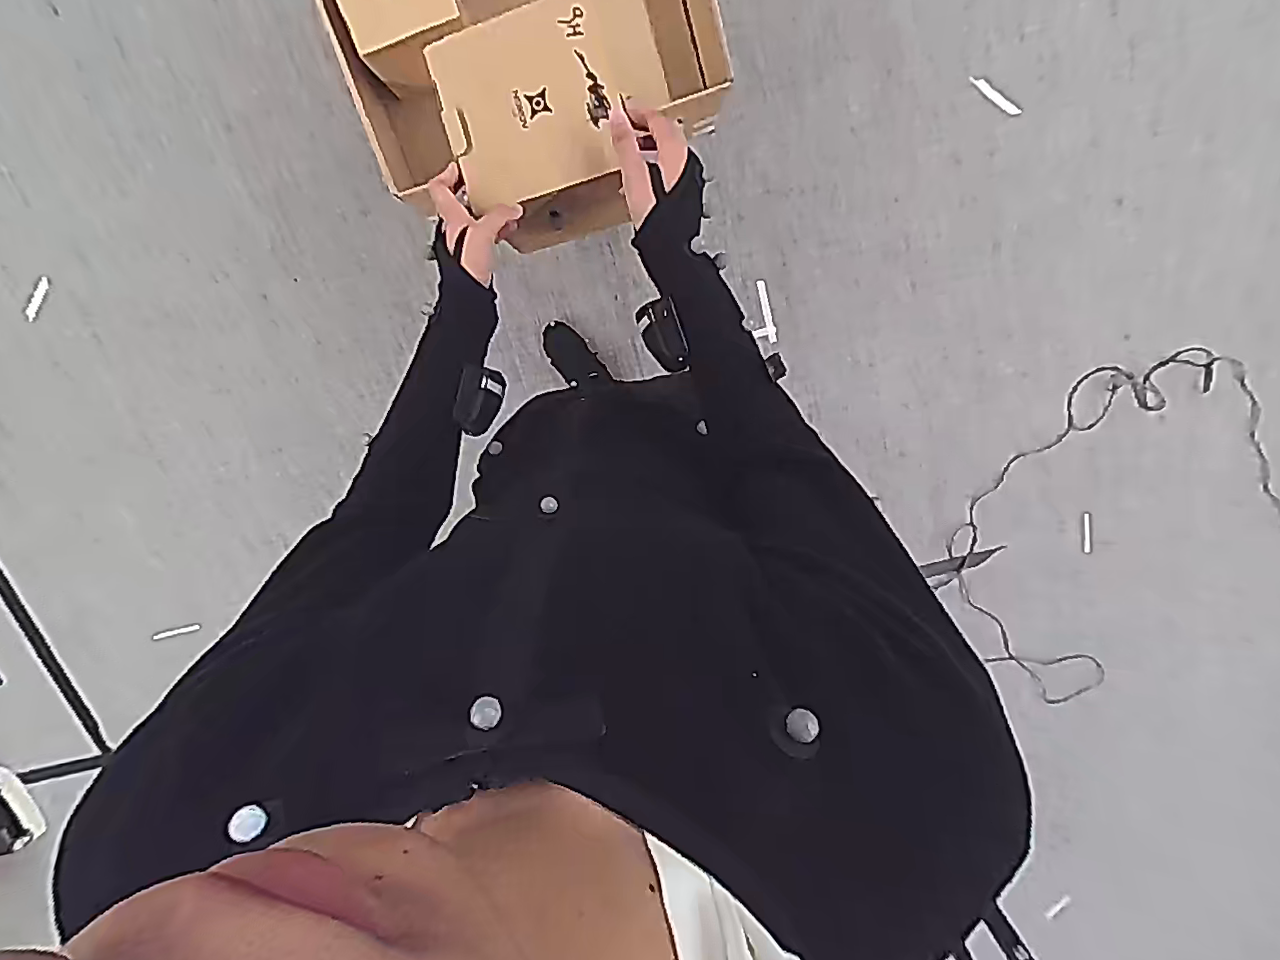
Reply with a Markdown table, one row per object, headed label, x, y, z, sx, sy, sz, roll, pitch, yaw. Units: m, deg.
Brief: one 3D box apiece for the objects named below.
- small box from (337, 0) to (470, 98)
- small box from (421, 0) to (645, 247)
| label | x | y | z | sx | sy | sz | roll | pitch | yaw |
| --- | --- | --- | --- | --- | --- | --- | --- | --- | --- |
| small box | -0.388 | -0.787 | 0.905 | 0.179 | 0.176 | 0.168 | -19 | 104 | 3 |
| small box | -0.103 | -0.379 | 0.602 | 0.179 | 0.176 | 0.168 | -14 | 99 | 9 |
